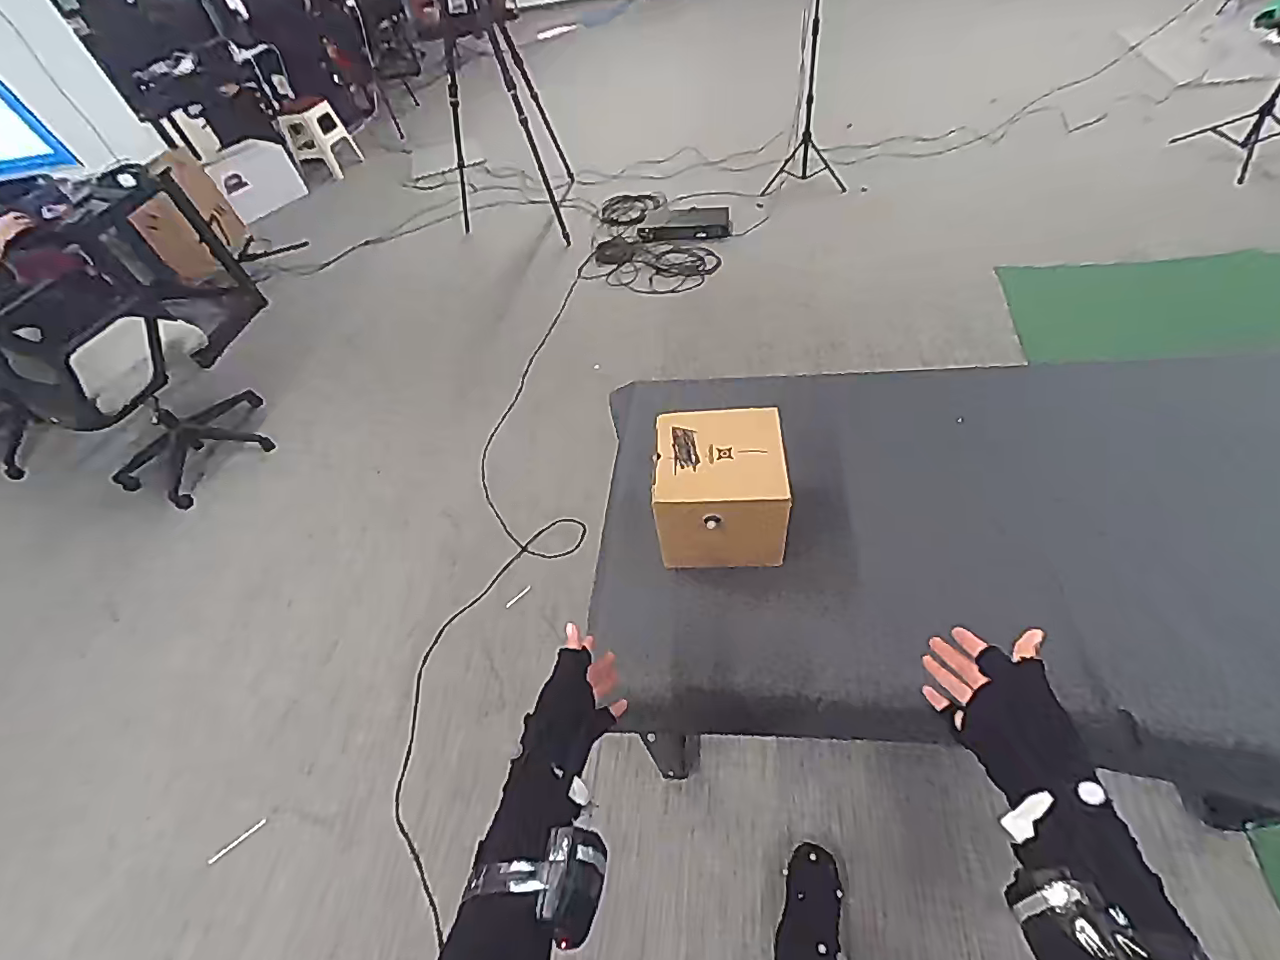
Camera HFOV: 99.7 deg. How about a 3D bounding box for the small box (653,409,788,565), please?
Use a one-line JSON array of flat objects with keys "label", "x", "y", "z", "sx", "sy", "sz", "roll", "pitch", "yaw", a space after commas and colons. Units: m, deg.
[{"label": "small box", "x": 0.119, "y": 0.015, "z": 0.801, "sx": 0.179, "sy": 0.176, "sz": 0.168, "roll": -2, "pitch": 51, "yaw": 8}]
